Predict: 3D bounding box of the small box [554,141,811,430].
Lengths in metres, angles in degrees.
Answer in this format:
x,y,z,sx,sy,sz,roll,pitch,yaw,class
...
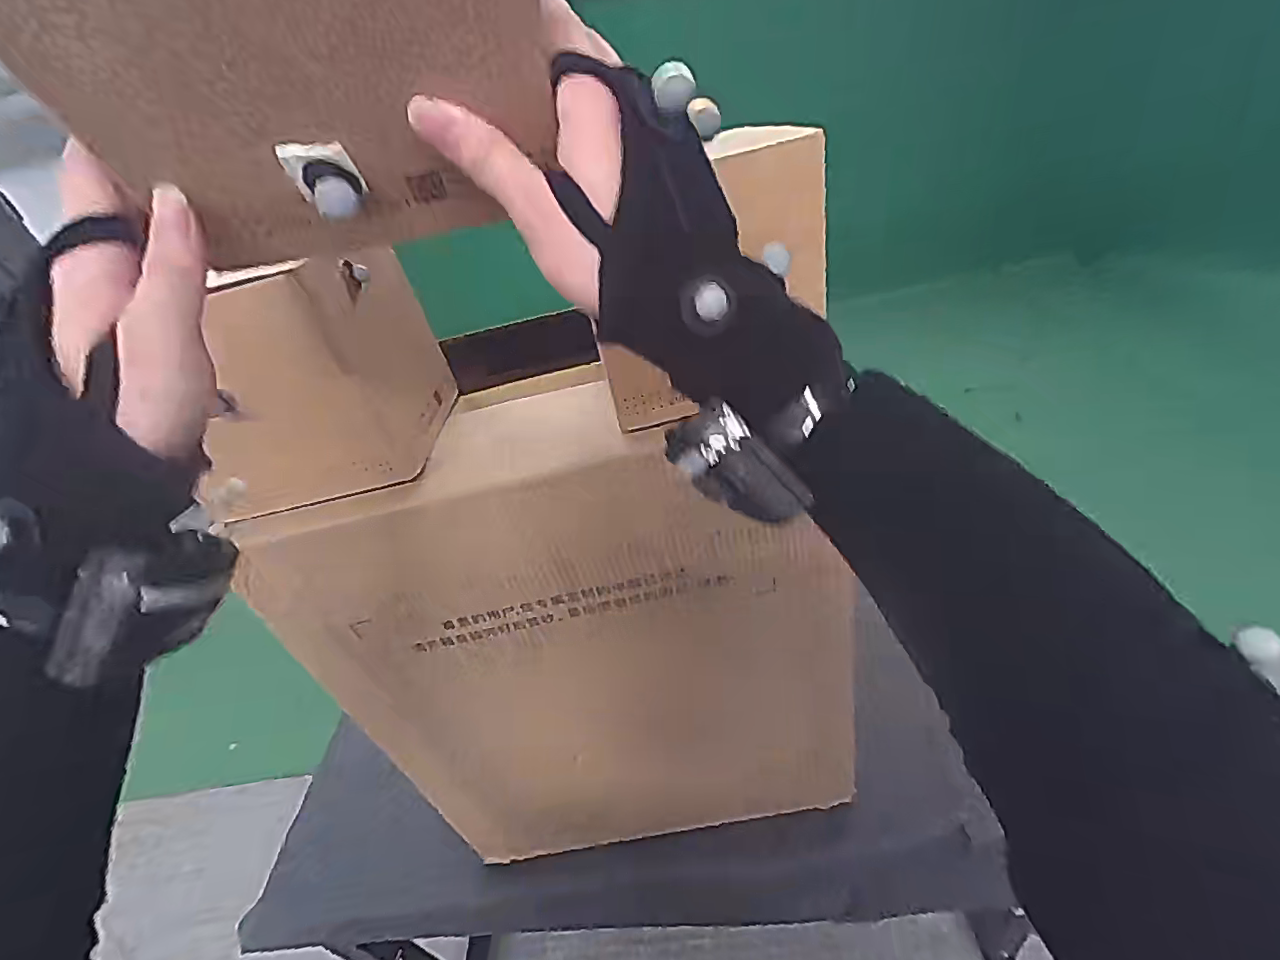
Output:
x,y,z,sx,sy,sz,roll,pitch,yaw,class
0.030,-0.164,0.448,0.168,0.176,0.179,-15,35,-1,small box

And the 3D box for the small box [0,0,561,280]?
x,y,z,sx,sy,sz,roll,pitch,yaw,class
-0.139,-0.218,0.222,0.168,0.176,0.179,-15,67,-5,small box

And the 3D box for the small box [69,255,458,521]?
x,y,z,sx,sy,sz,roll,pitch,yaw,class
-0.287,-0.087,0.464,0.179,0.176,0.168,-15,35,5,small box
